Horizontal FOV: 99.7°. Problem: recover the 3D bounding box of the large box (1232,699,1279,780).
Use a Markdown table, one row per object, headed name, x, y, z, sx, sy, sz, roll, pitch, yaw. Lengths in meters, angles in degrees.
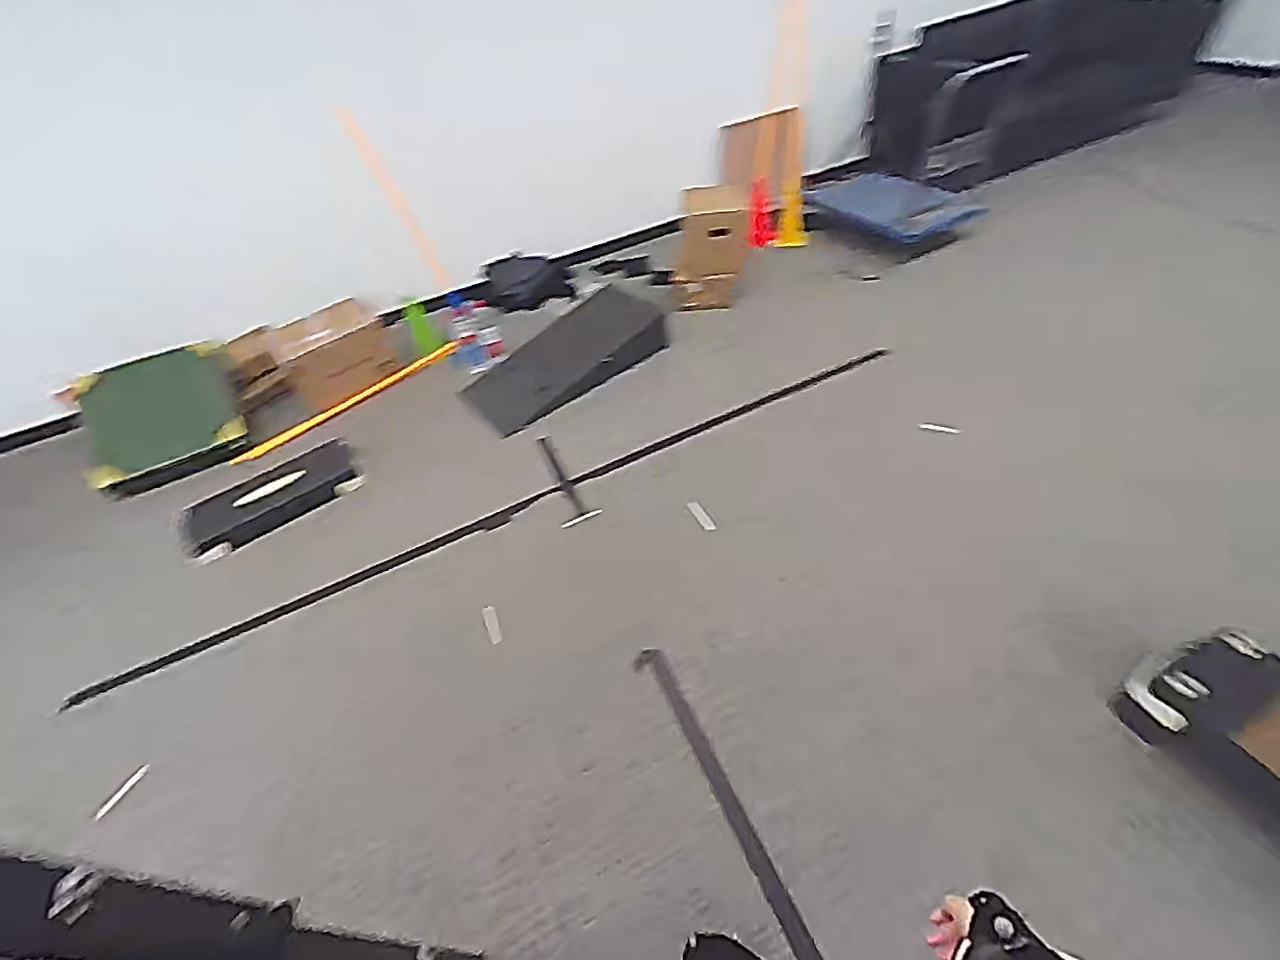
| name | x | y | z | sx | sy | sz | roll | pitch | yaw |
| --- | --- | --- | --- | --- | --- | --- | --- | --- | --- |
| large box | 1.406 | 0.484 | 0.905 | 0.320 | 0.320 | 0.408 | -23 | 45 | -13 |
